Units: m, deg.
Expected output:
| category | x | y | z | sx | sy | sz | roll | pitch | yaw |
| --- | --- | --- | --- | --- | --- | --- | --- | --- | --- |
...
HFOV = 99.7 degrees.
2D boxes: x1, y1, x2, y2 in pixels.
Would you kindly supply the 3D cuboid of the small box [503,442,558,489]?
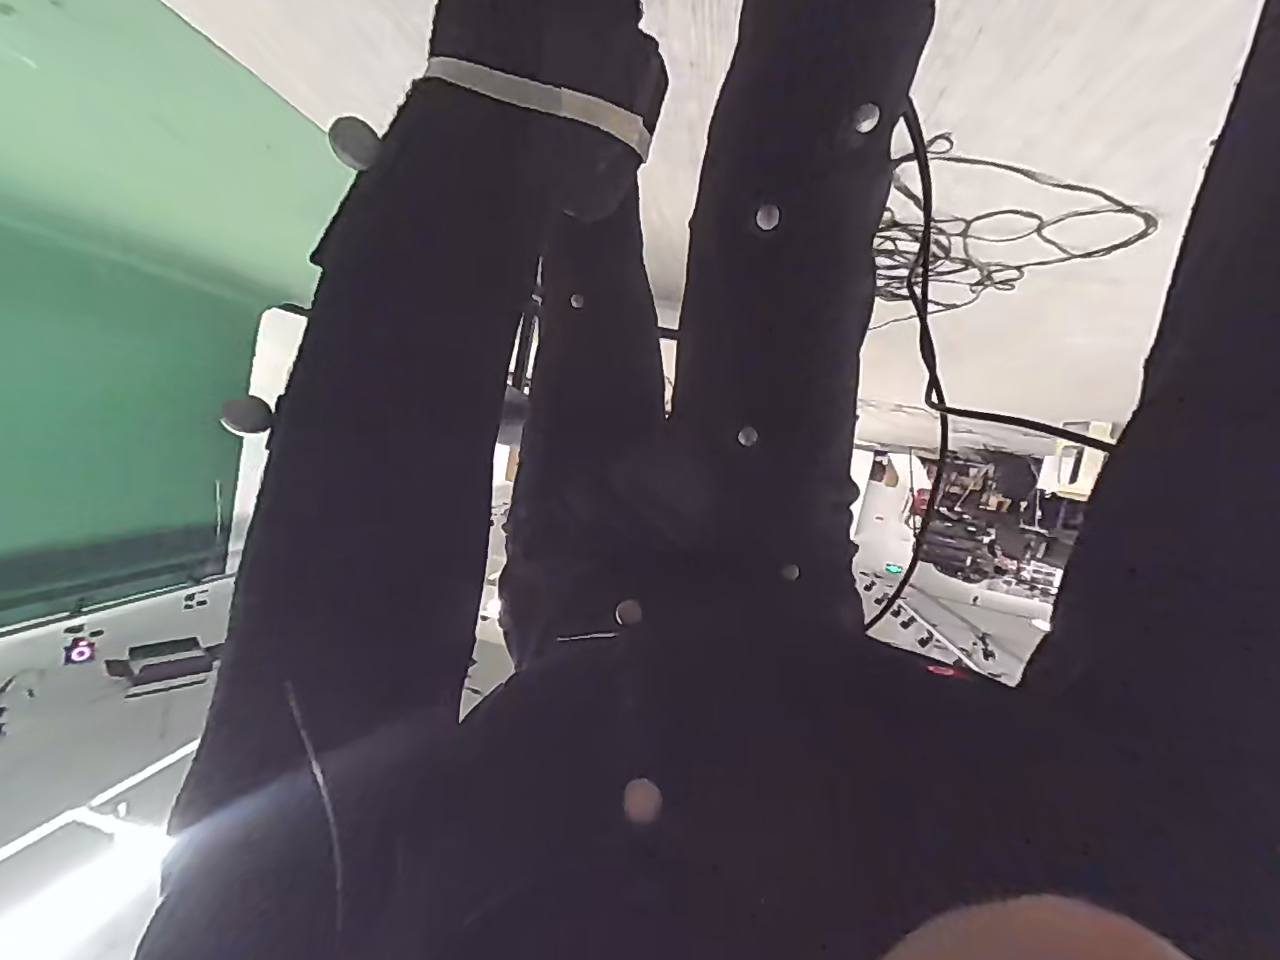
| category | x | y | z | sx | sy | sz | roll | pitch | yaw |
| --- | --- | --- | --- | --- | --- | --- | --- | --- | --- |
| small box | -0.464 | -0.067 | 2.301 | 0.168 | 0.176 | 0.179 | 13 | -174 | 9 |
